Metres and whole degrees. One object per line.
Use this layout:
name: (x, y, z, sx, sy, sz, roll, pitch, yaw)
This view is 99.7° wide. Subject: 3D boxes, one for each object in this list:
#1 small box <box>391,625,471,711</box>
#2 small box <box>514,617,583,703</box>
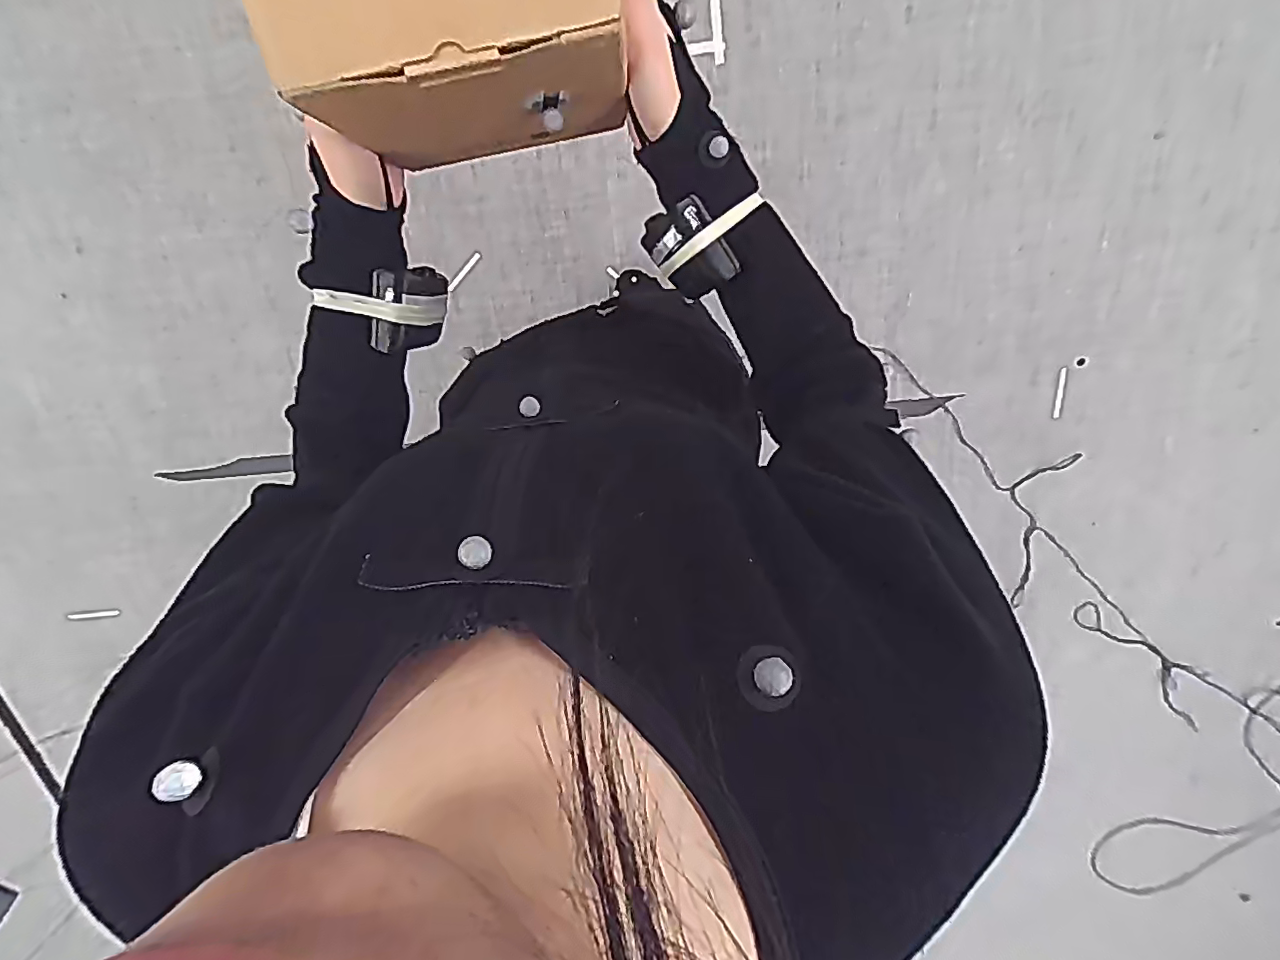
small box: (-0.622, 0.557, 1.620, 0.179, 0.176, 0.168, 10, 108, -6)
small box: (-0.266, 0.536, 1.620, 0.168, 0.176, 0.179, -7, 108, 1)
